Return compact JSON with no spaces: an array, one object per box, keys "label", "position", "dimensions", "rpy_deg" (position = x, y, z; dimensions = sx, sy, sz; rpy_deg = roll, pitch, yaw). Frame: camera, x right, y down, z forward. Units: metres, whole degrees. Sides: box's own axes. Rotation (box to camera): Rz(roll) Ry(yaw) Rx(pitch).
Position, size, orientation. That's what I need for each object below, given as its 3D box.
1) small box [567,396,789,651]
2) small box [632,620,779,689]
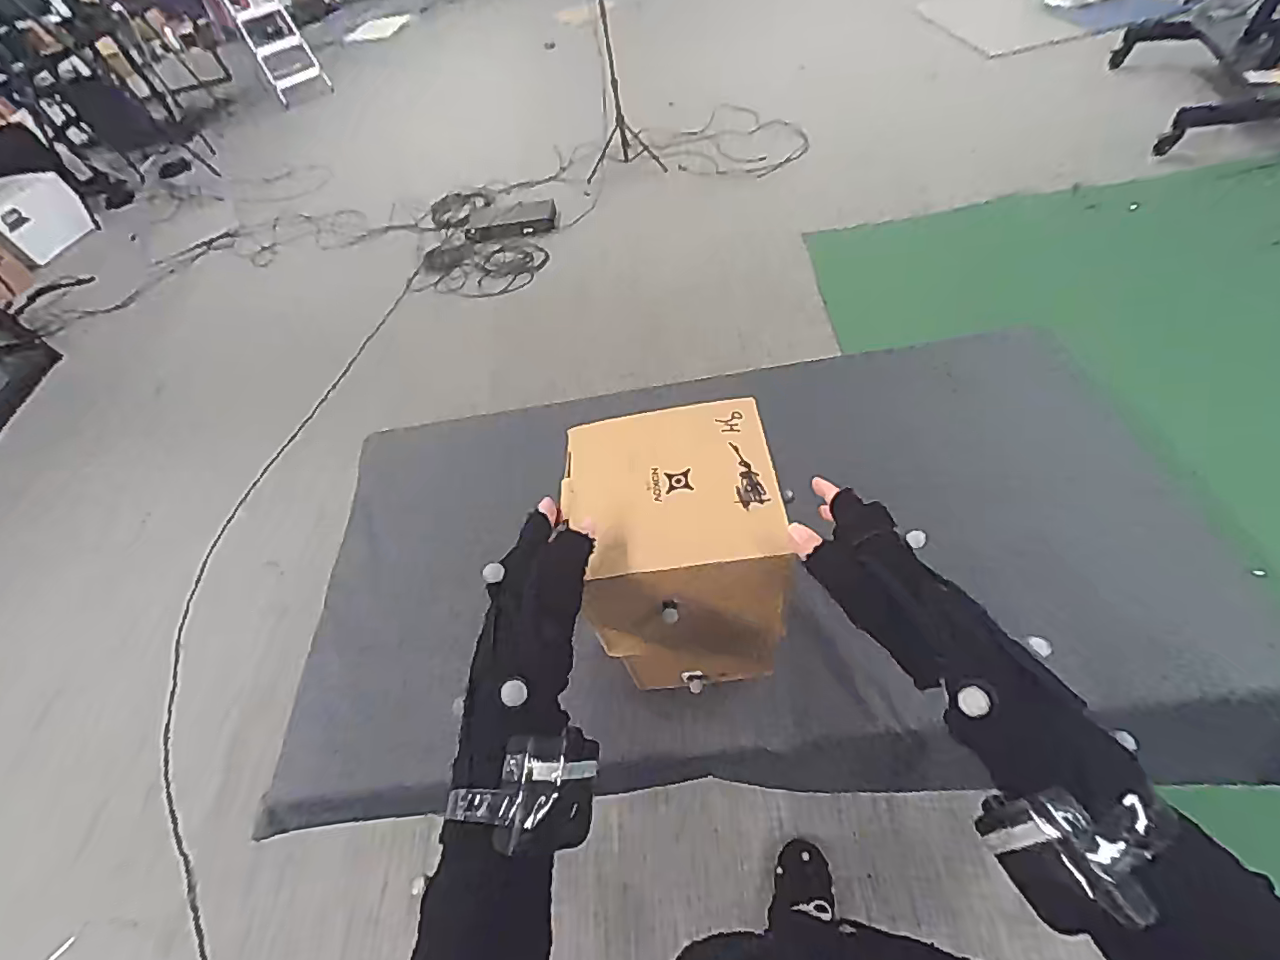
[{"label":"small box","position":[0.036,0.049,0.522],"dimensions":[0.179,0.176,0.168],"rpy_deg":[-11,49,4]},{"label":"small box","position":[0.064,0.133,0.657],"dimensions":[0.168,0.176,0.179],"rpy_deg":[-11,53,5]}]
